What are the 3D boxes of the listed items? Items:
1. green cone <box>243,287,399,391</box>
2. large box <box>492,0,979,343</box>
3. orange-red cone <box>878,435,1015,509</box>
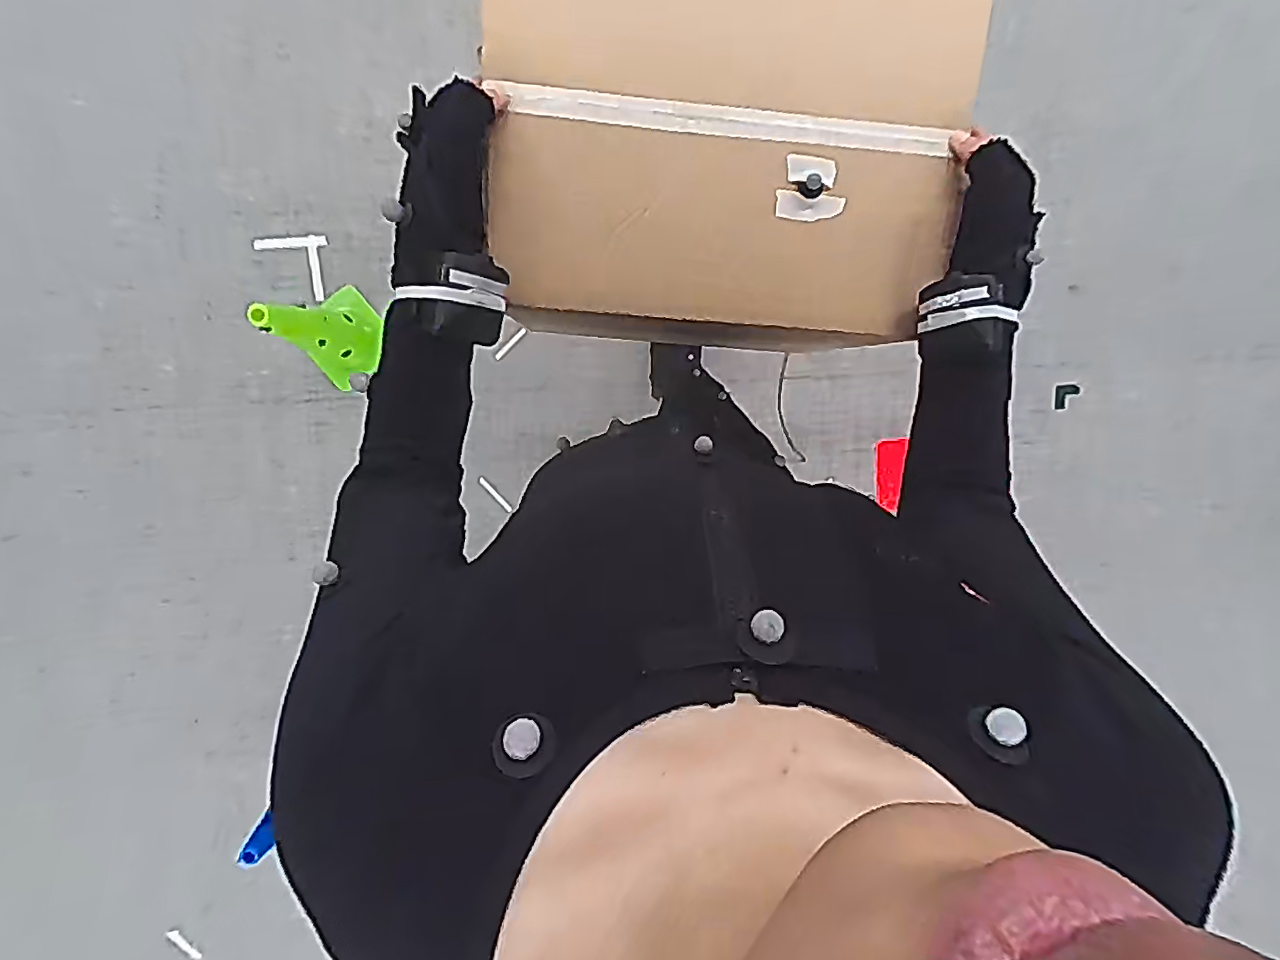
[{"bbox_3d":[-0.732,-0.332,1.193,0.202,0.368,0.200,-40,97,4],"label":"green cone"},{"bbox_3d":[0.065,-0.328,0.594,0.408,0.320,0.320,3,101,-6],"label":"large box"},{"bbox_3d":[0.764,-0.003,1.318,0.198,0.360,0.199,-5,96,-3],"label":"orange-red cone"}]
